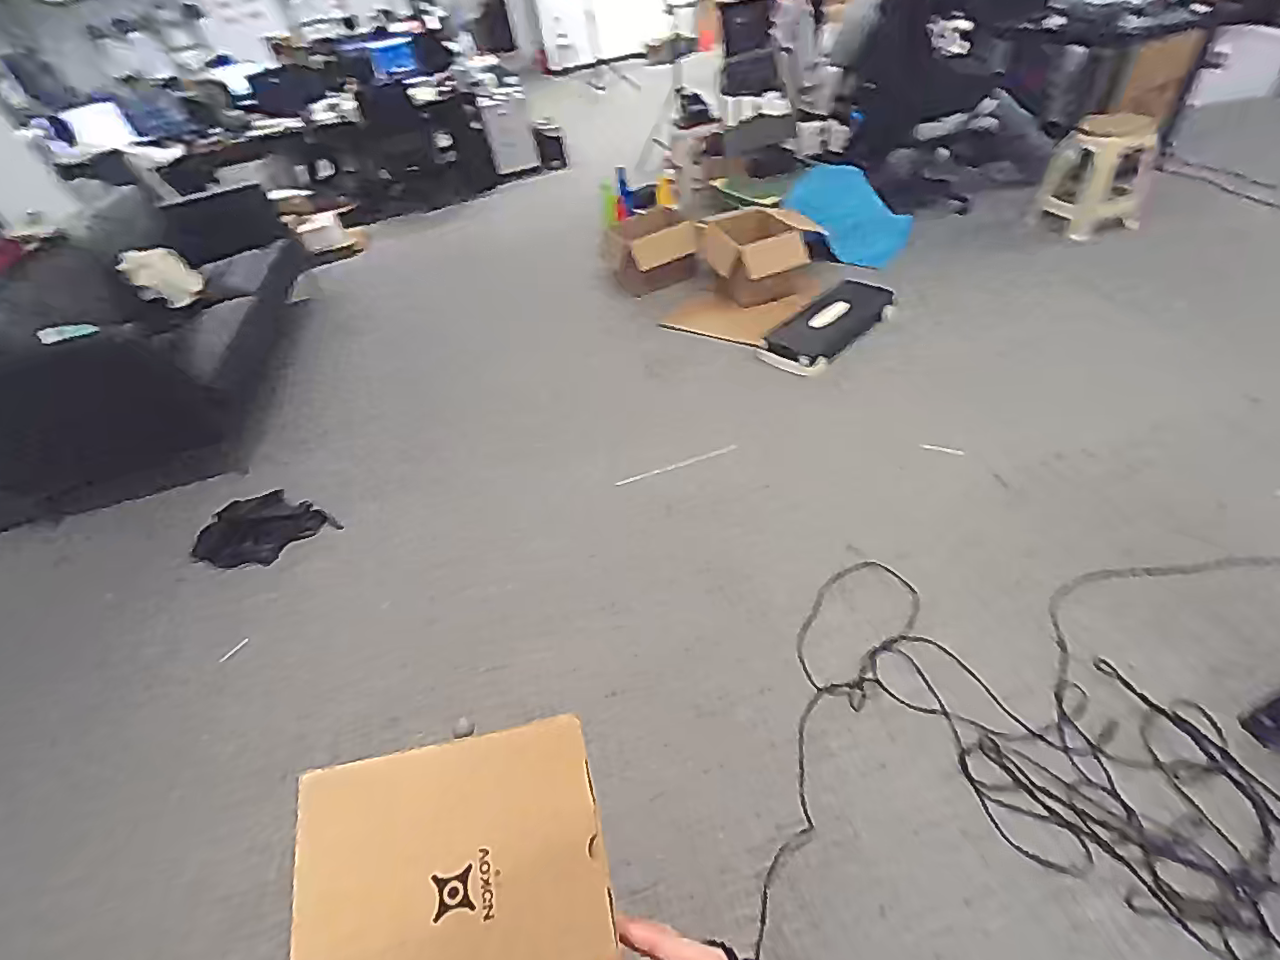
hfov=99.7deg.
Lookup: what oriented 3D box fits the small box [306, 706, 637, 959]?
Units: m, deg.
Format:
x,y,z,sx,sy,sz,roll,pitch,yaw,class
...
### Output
x,y,z,sx,sy,sz,roll,pitch,yaw,class
-0.117,0.276,0.383,0.179,0.176,0.168,-4,60,-20,small box
